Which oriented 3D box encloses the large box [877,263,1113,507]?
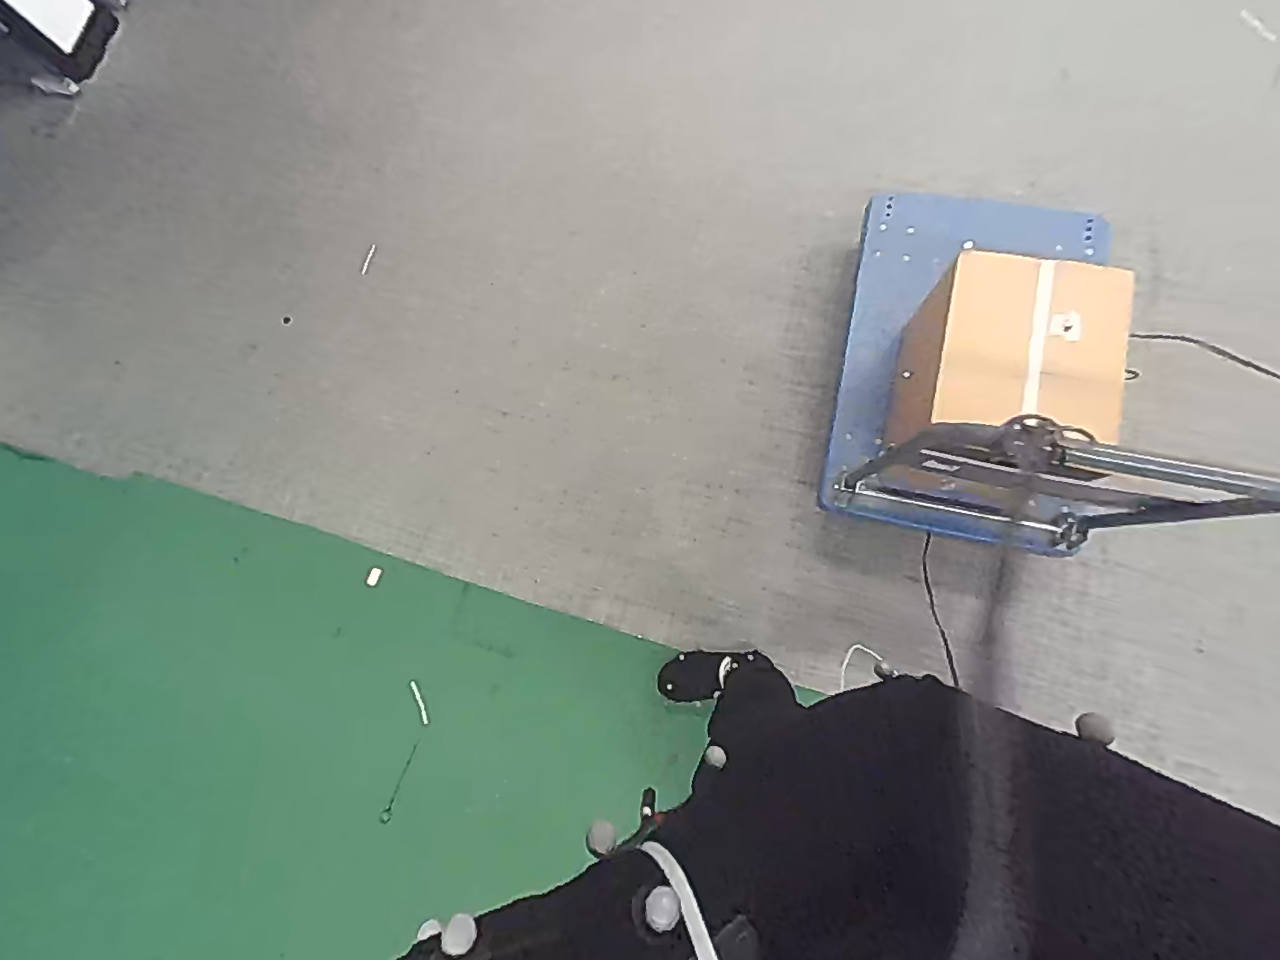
[{"bbox_3d":[0.738,-0.185,1.171,0.320,0.320,0.408,13,79,9],"label":"large box"}]
